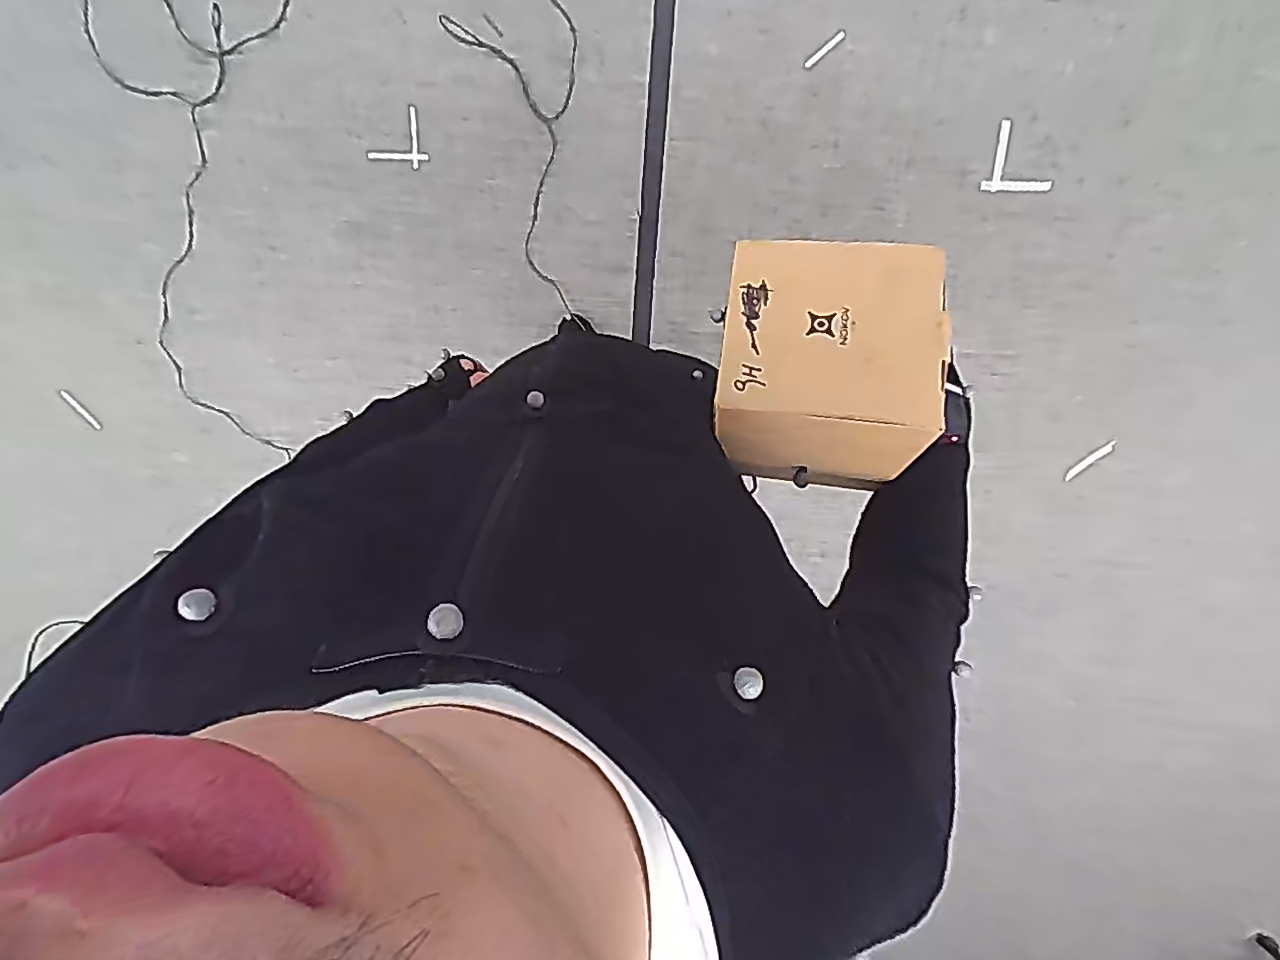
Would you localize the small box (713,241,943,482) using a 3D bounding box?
[{"bbox_3d":[0.171,-0.105,0.533,0.179,0.176,0.168,8,72,9],"label":"small box"}]
